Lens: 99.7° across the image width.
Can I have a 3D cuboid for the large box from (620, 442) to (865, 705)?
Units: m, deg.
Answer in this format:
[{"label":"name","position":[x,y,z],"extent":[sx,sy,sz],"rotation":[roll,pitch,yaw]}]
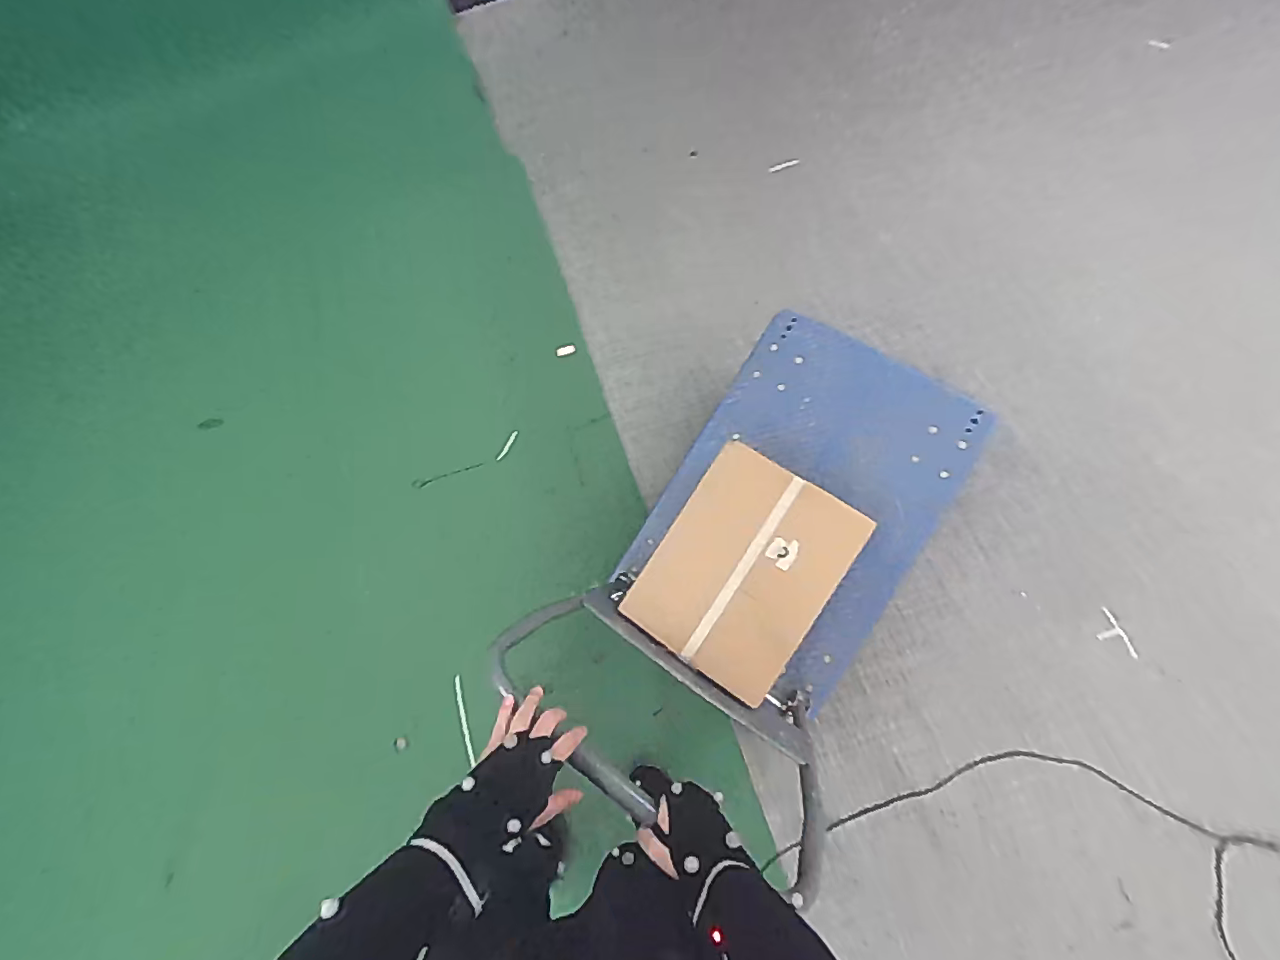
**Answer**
[{"label":"large box","position":[0.217,0.193,1.165],"extent":[0.320,0.320,0.408],"rotation":[33,88,15]}]
